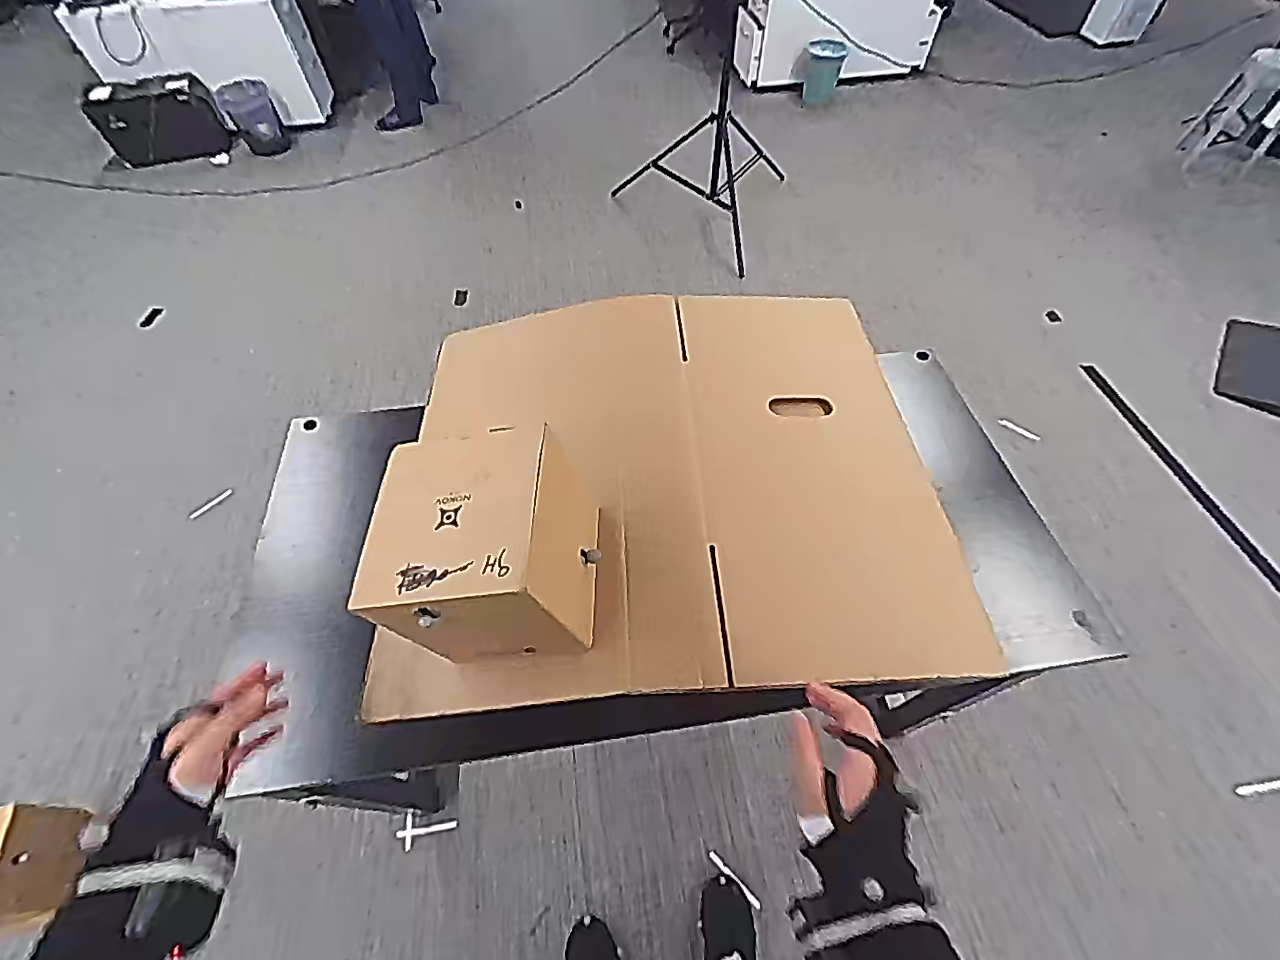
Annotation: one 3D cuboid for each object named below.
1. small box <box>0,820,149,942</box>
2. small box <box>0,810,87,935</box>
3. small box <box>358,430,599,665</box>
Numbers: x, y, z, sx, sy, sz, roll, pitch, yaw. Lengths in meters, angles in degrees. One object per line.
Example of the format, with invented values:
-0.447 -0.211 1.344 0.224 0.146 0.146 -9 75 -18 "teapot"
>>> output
-1.192 0.836 1.132 0.168 0.176 0.179 -11 56 -6 "small box"
-1.197 0.739 1.002 0.168 0.176 0.179 -13 55 -9 "small box"
-0.146 0.076 0.560 0.168 0.176 0.179 -9 54 12 "small box"
